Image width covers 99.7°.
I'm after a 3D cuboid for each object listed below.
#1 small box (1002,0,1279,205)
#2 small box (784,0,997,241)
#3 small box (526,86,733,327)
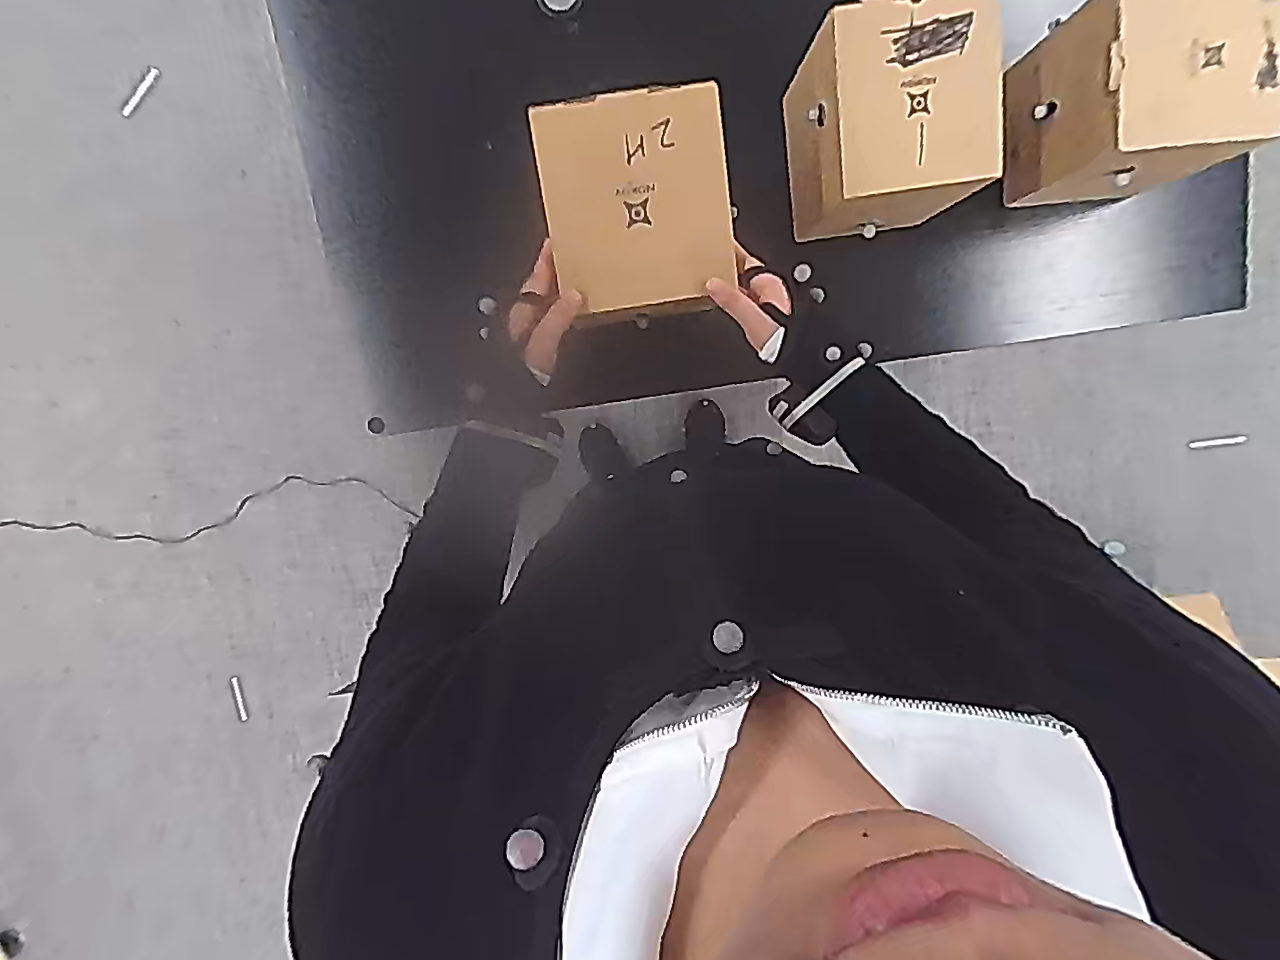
[{"bbox_3d":[0.550,-0.432,0.617,0.179,0.176,0.168,-5,99,1],"label":"small box"},{"bbox_3d":[0.271,-0.396,0.617,0.168,0.176,0.179,-8,100,0],"label":"small box"},{"bbox_3d":[-0.008,-0.259,0.560,0.168,0.176,0.179,-10,101,0],"label":"small box"}]
